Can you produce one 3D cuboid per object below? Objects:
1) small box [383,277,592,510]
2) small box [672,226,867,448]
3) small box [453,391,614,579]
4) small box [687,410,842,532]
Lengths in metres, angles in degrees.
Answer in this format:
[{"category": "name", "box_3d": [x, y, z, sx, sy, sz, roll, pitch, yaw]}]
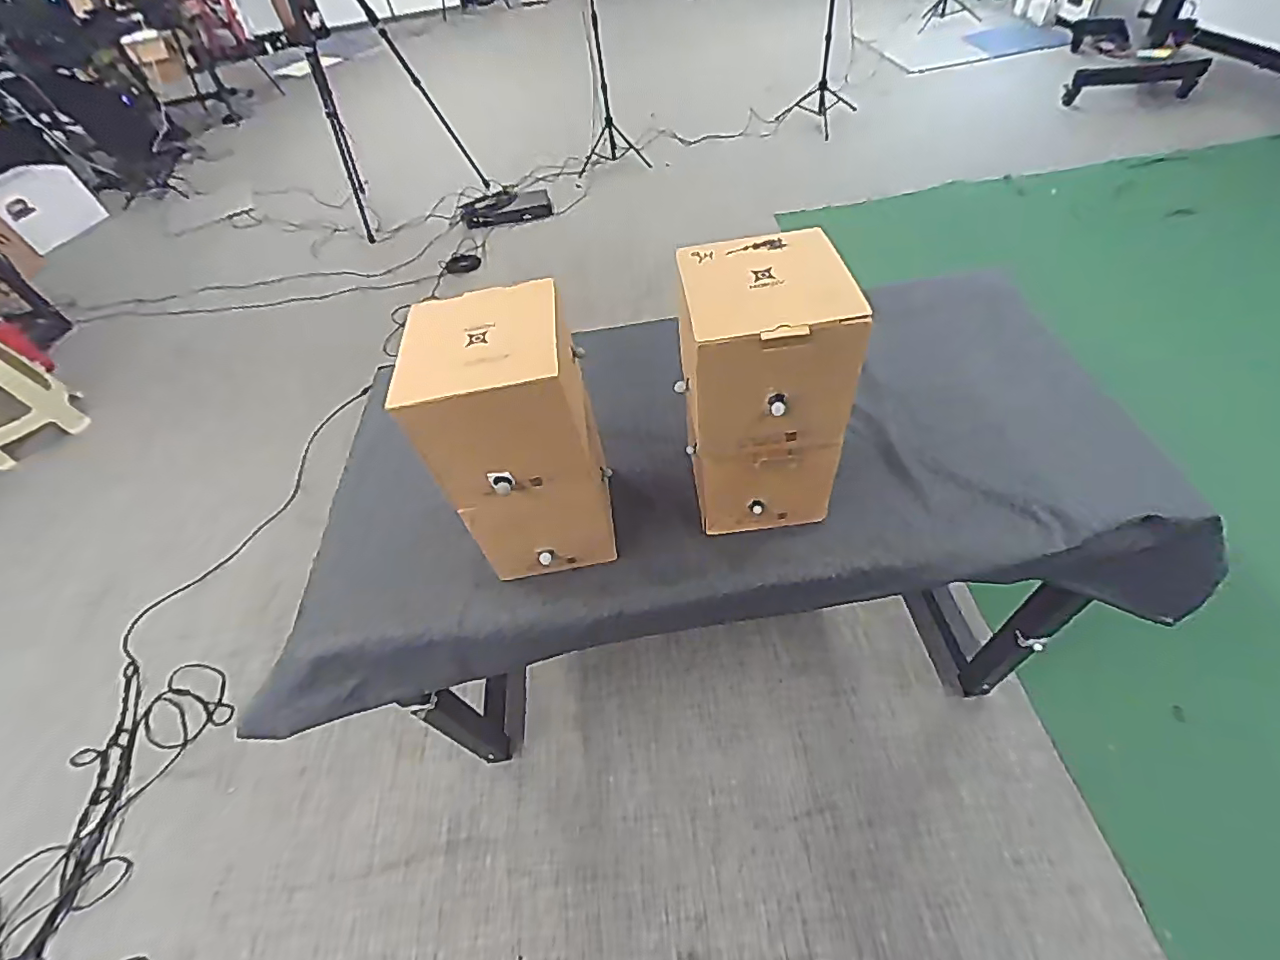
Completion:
[{"category": "small box", "box_3d": [-0.154, -0.093, 0.603, 0.168, 0.176, 0.179, -11, 51, 1]}, {"category": "small box", "box_3d": [0.131, -0.150, 0.606, 0.168, 0.176, 0.179, -8, 51, 2]}, {"category": "small box", "box_3d": [-0.134, 0.008, 0.728, 0.168, 0.176, 0.179, -11, 51, 1]}, {"category": "small box", "box_3d": [0.154, -0.053, 0.735, 0.168, 0.176, 0.179, -8, 51, 2]}]
